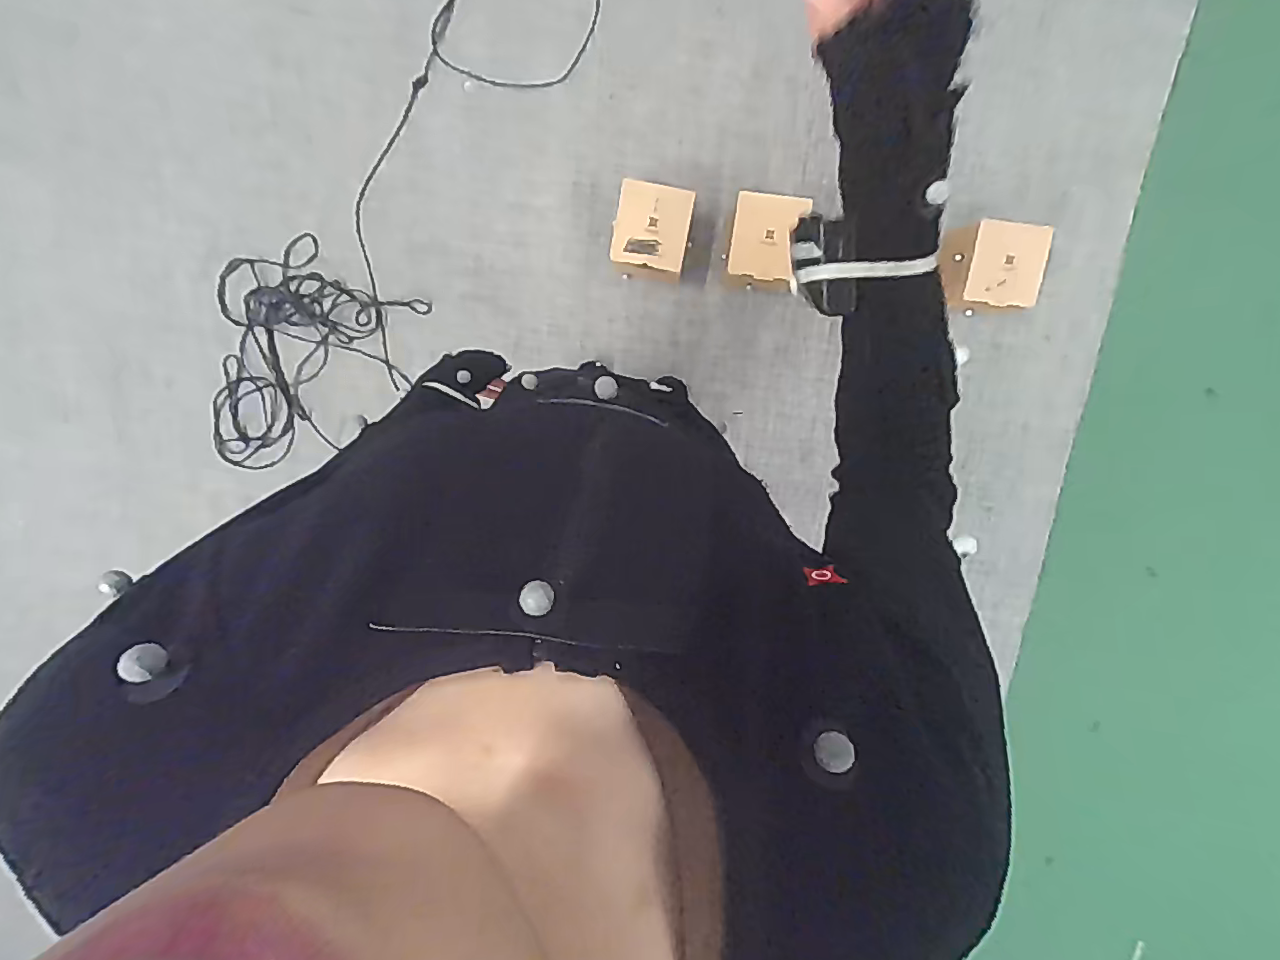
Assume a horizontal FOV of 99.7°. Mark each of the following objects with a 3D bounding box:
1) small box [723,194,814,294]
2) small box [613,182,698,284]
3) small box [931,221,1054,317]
[{"bbox_3d":[0.297,-0.554,1.289,0.168,0.176,0.179,7,102,1],"label":"small box"},{"bbox_3d":[0.037,-0.578,1.291,0.168,0.176,0.179,11,102,0],"label":"small box"},{"bbox_3d":[0.824,-0.494,1.285,0.168,0.176,0.179,7,103,1],"label":"small box"}]
